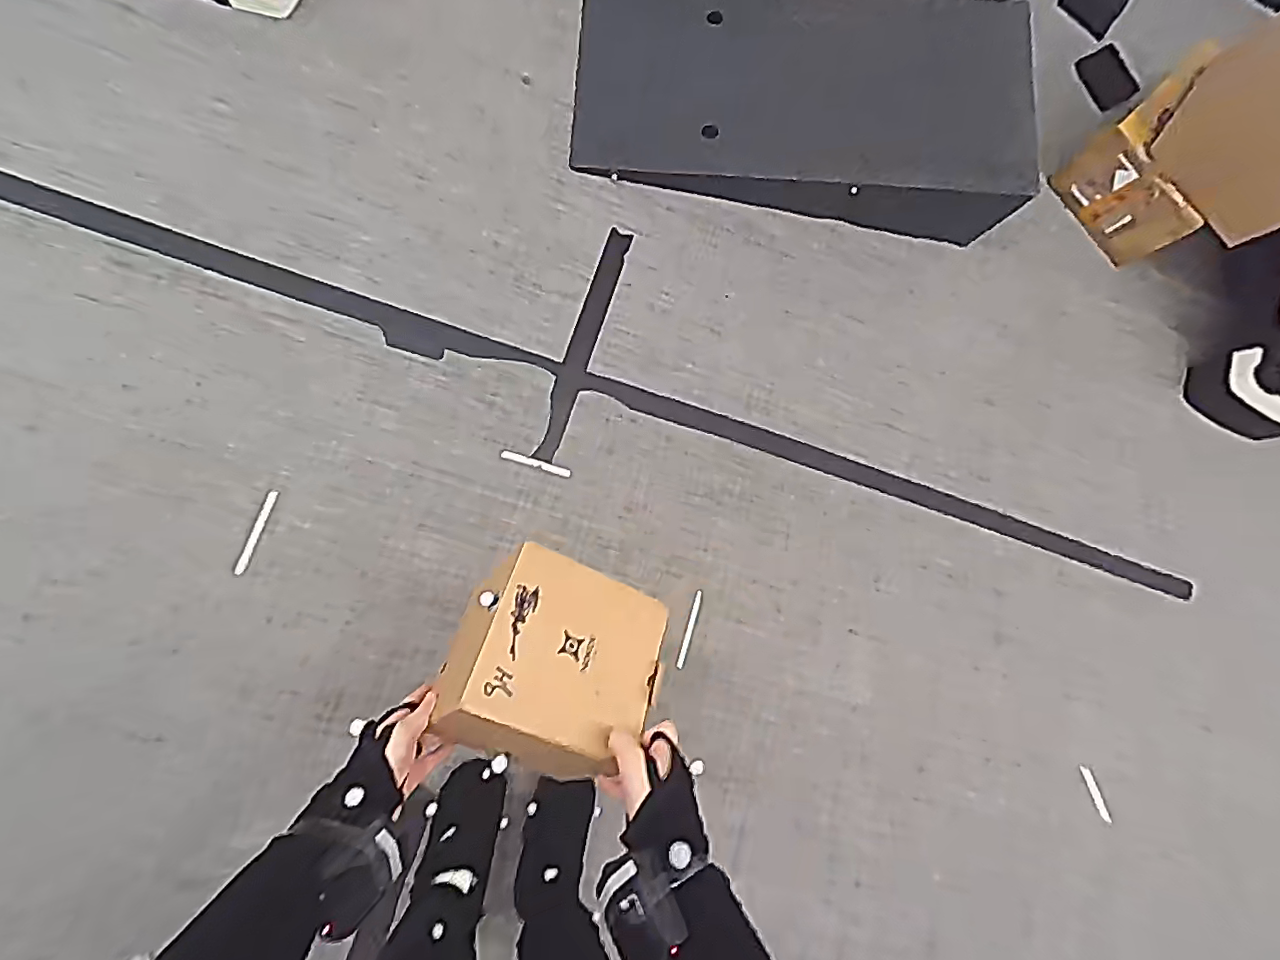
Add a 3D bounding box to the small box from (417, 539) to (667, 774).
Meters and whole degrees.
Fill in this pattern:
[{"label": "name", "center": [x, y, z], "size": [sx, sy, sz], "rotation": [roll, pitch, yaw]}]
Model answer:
[{"label": "small box", "center": [-0.102, 0.193, 0.566], "size": [0.179, 0.176, 0.168], "rotation": [31, 50, -18]}]
